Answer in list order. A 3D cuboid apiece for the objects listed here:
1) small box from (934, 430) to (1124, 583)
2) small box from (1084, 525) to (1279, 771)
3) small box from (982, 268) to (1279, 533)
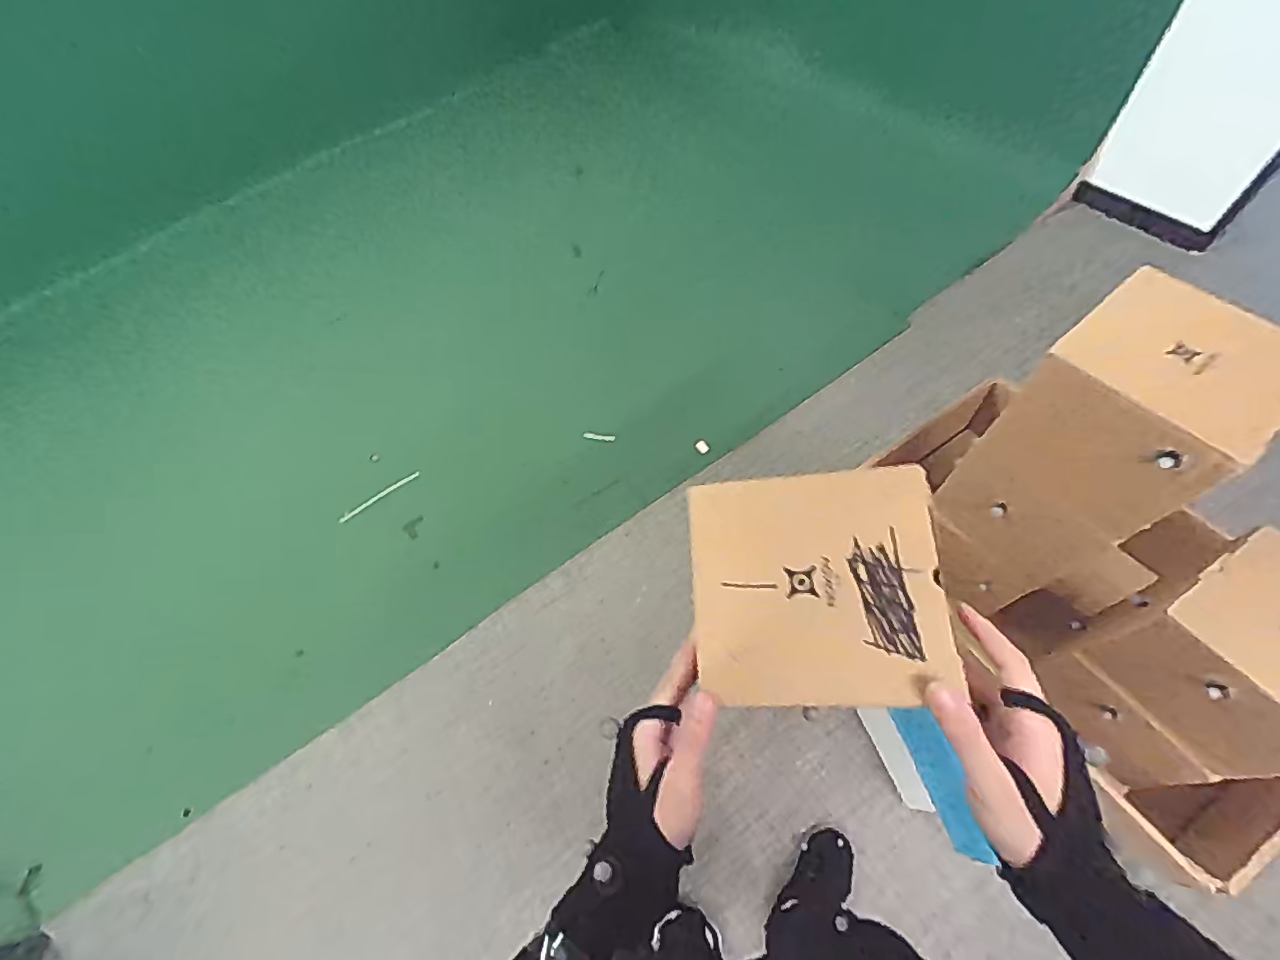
[{"bbox_3d":[0.527,0.005,0.705,0.168,0.176,0.179,-38,63,-12],"label":"small box"},{"bbox_3d":[0.646,0.186,0.582,0.168,0.176,0.179,-32,60,-9],"label":"small box"},{"bbox_3d":[0.508,-0.075,0.563,0.168,0.176,0.179,-38,65,-13],"label":"small box"}]
